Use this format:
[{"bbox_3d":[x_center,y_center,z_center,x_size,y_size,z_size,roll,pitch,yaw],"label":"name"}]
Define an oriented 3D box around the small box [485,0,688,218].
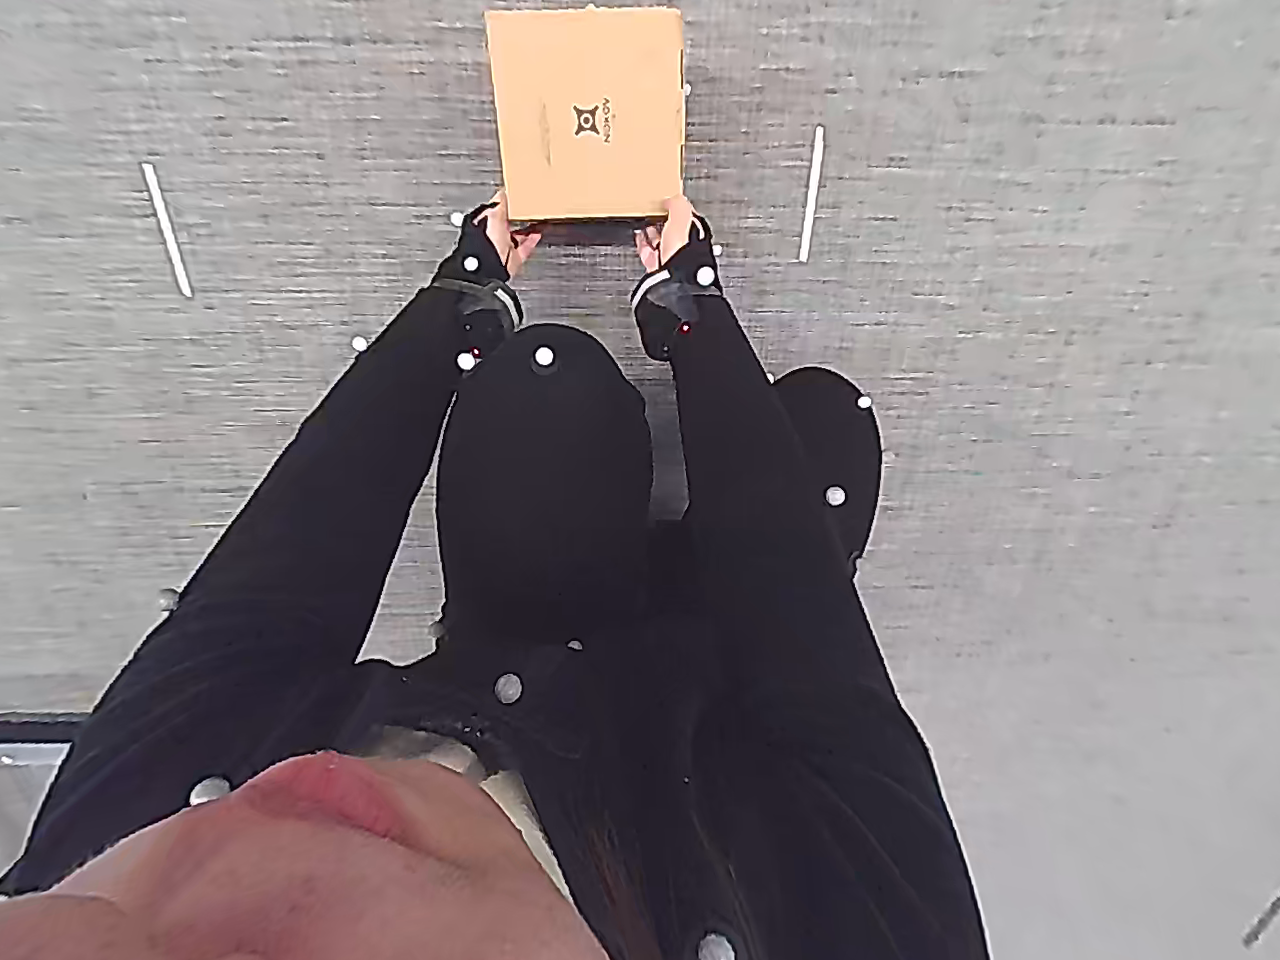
[{"bbox_3d":[-0.049,-0.368,0.563,0.179,0.176,0.168,-1,114,-1],"label":"small box"}]
